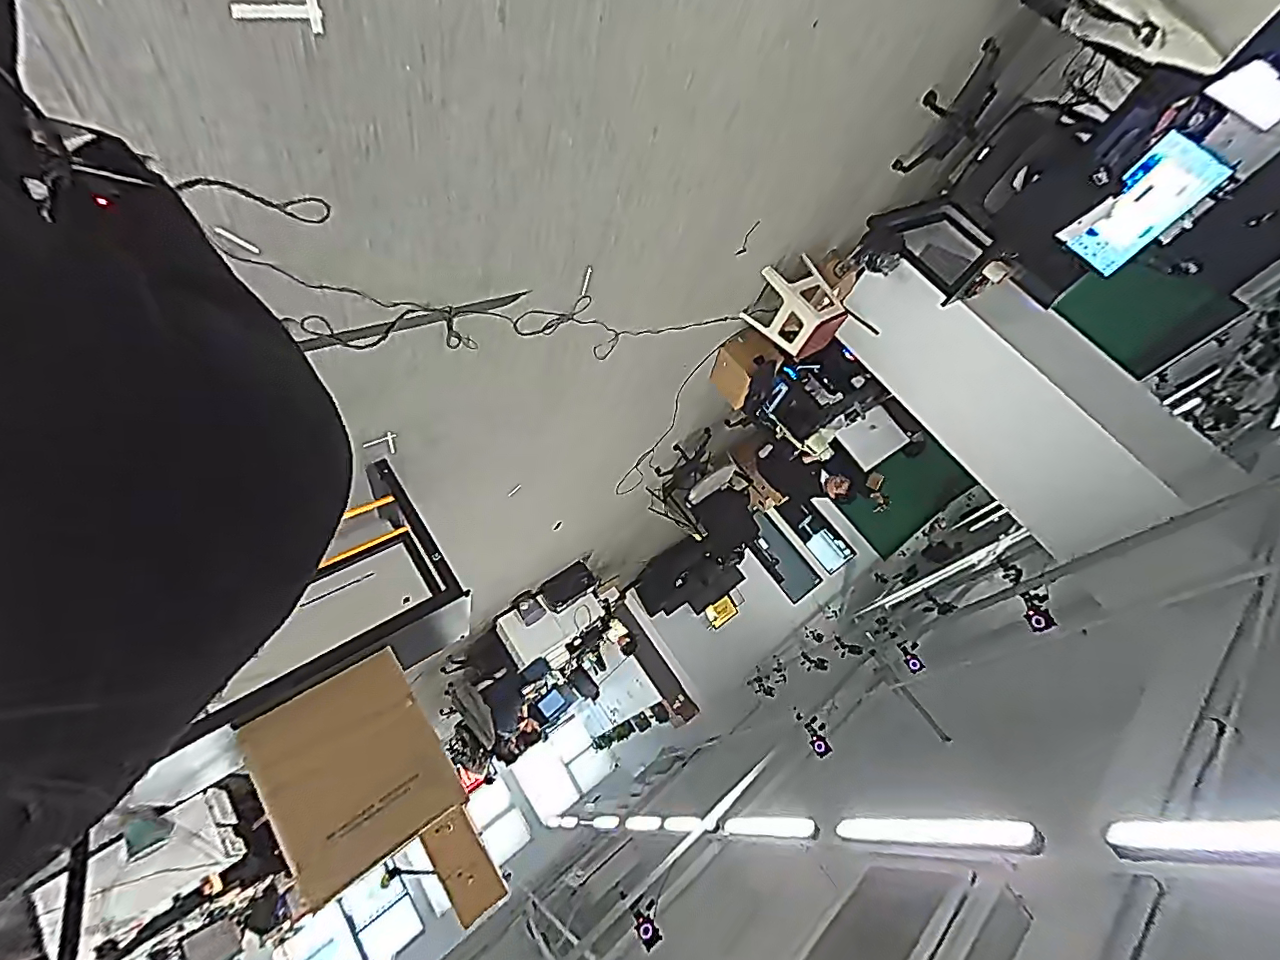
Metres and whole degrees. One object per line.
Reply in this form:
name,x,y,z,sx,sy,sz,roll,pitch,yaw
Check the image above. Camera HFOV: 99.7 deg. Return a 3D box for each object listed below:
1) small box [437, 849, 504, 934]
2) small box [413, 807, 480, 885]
small box,-0.594,1.431,1.898,0.168,0.176,0.179,-29,161,-28
small box,-0.693,1.308,1.947,0.168,0.176,0.179,-30,160,-26
